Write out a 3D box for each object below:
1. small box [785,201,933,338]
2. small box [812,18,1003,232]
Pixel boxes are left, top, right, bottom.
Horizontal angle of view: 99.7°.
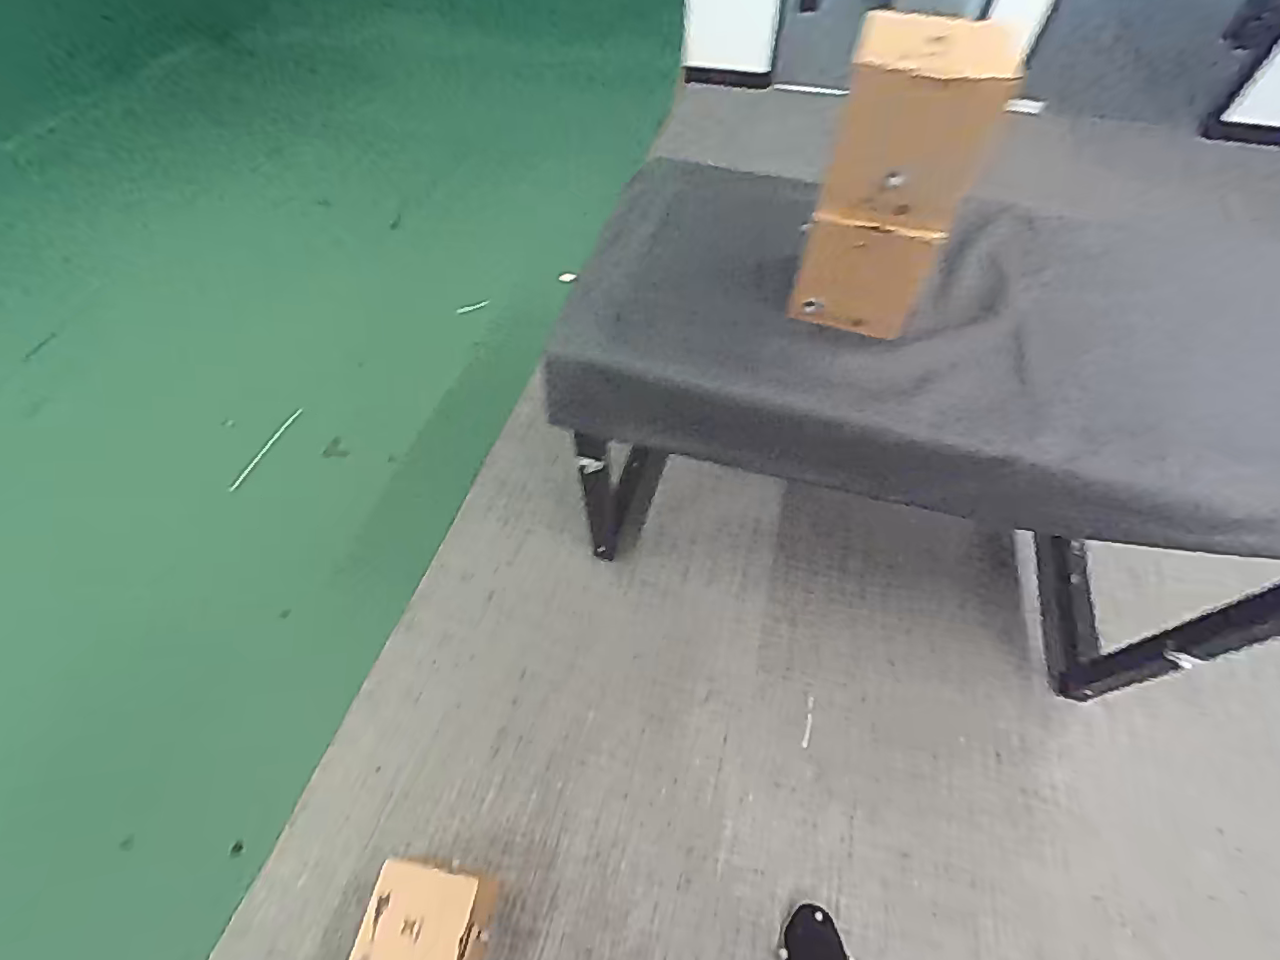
[{"bbox_3d":[0.327,-0.343,0.816,0.168,0.176,0.179,17,57,11],"label":"small box"},{"bbox_3d":[0.329,-0.449,0.689,0.168,0.176,0.179,15,57,11],"label":"small box"}]
